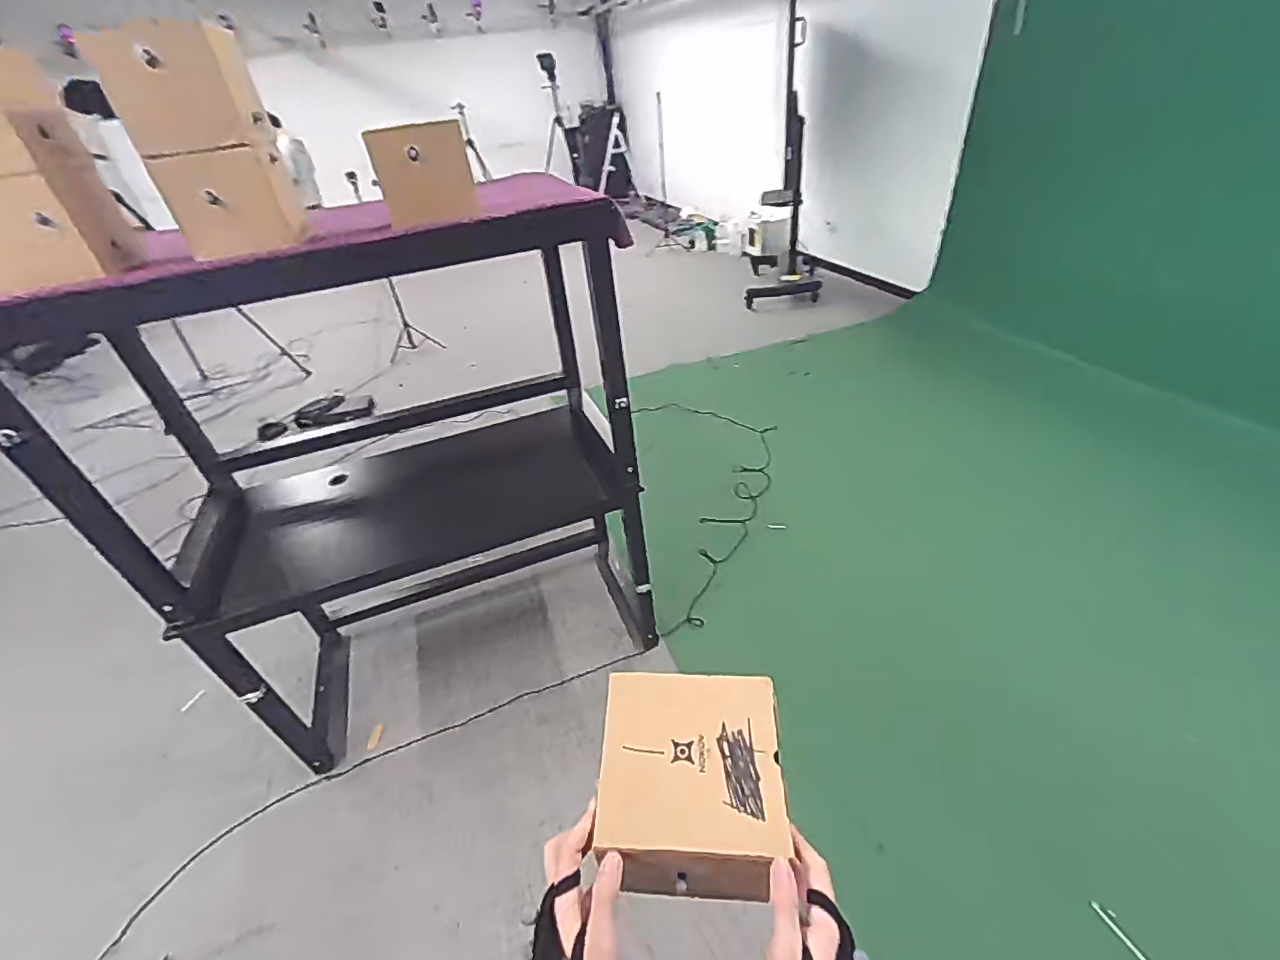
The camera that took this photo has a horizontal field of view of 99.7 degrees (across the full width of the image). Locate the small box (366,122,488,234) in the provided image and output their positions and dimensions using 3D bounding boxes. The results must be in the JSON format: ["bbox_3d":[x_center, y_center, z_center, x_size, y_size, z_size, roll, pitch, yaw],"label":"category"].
[{"bbox_3d":[-0.420,-0.603,1.079,0.179,0.176,0.168,-17,38,-13],"label":"small box"}]

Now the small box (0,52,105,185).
[{"bbox_3d":[-1.045,-0.572,0.868,0.179,0.176,0.168,-13,35,-10],"label":"small box"}]

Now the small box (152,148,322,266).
[{"bbox_3d":[-0.739,-0.515,1.016,0.179,0.176,0.168,-15,36,-10],"label":"small box"}]

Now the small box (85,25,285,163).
[{"bbox_3d":[-0.754,-0.649,0.923,0.179,0.176,0.168,-13,36,-9],"label":"small box"}]

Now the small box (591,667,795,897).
[{"bbox_3d":[0.052,0.317,0.569,0.179,0.176,0.168,0,41,5],"label":"small box"}]
